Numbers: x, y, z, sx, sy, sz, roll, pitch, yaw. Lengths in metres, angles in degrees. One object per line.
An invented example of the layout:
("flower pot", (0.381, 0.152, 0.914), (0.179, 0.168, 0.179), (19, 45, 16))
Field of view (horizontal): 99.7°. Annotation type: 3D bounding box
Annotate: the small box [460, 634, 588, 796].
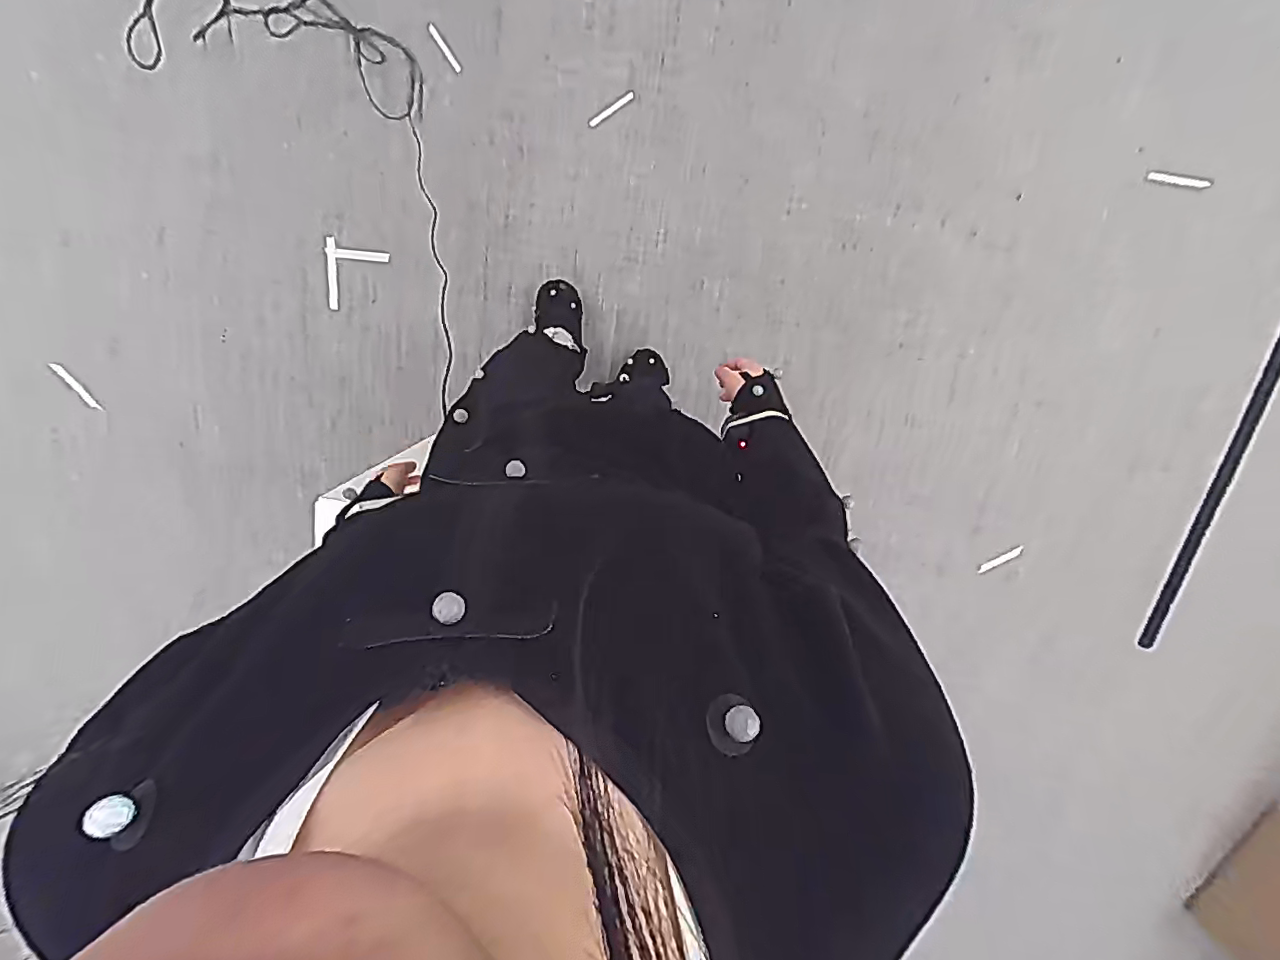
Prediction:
("small box", (-0.188, 0.390, 0.921), (0.168, 0.176, 0.179), (13, 106, -3))
